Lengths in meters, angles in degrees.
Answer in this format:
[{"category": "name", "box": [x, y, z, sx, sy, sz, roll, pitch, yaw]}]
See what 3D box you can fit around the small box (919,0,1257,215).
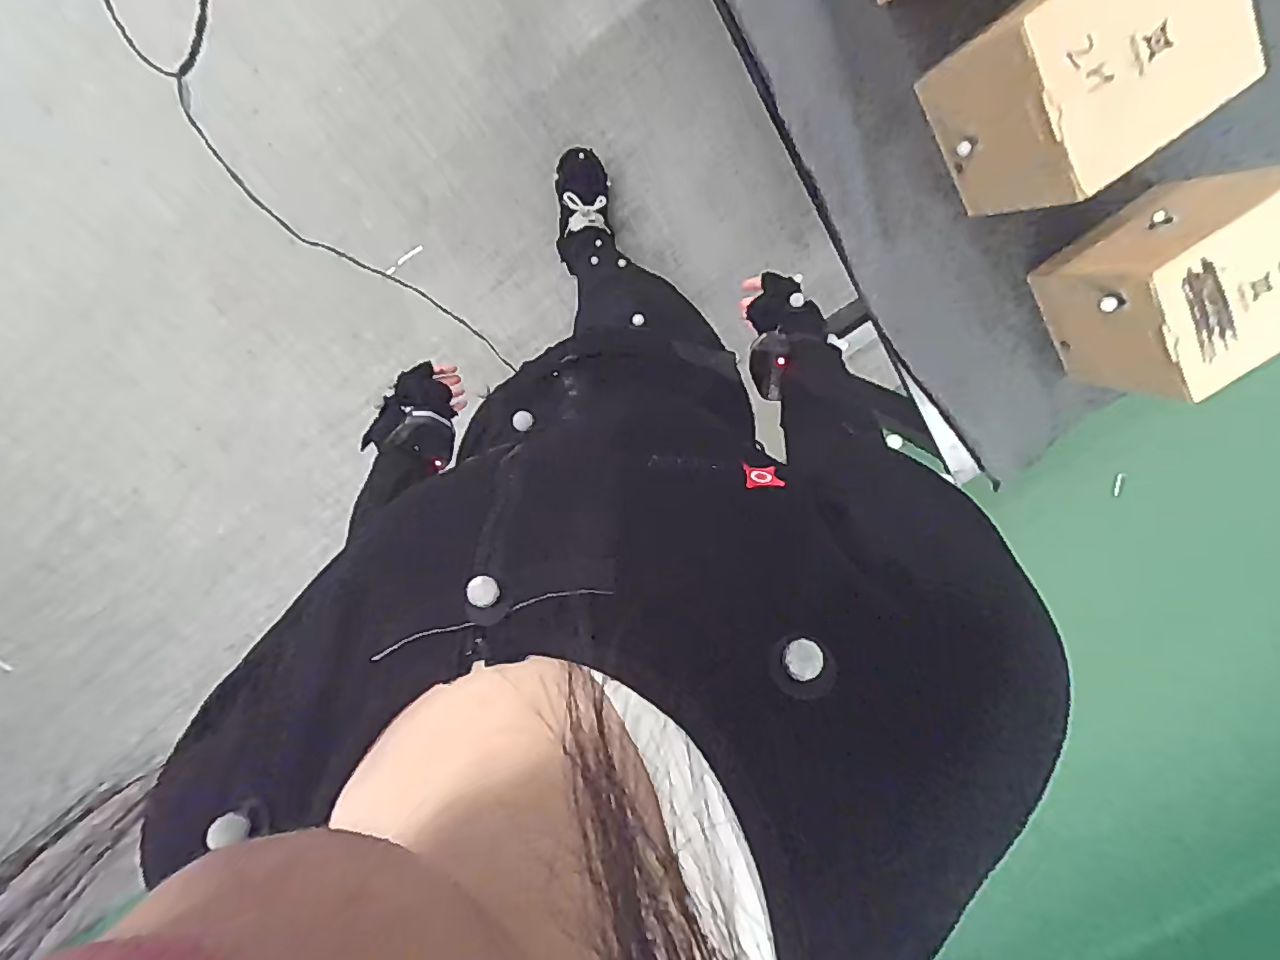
[{"category": "small box", "box": [0.426, -0.395, 0.540, 0.179, 0.176, 0.168, -35, 110, 9]}]
